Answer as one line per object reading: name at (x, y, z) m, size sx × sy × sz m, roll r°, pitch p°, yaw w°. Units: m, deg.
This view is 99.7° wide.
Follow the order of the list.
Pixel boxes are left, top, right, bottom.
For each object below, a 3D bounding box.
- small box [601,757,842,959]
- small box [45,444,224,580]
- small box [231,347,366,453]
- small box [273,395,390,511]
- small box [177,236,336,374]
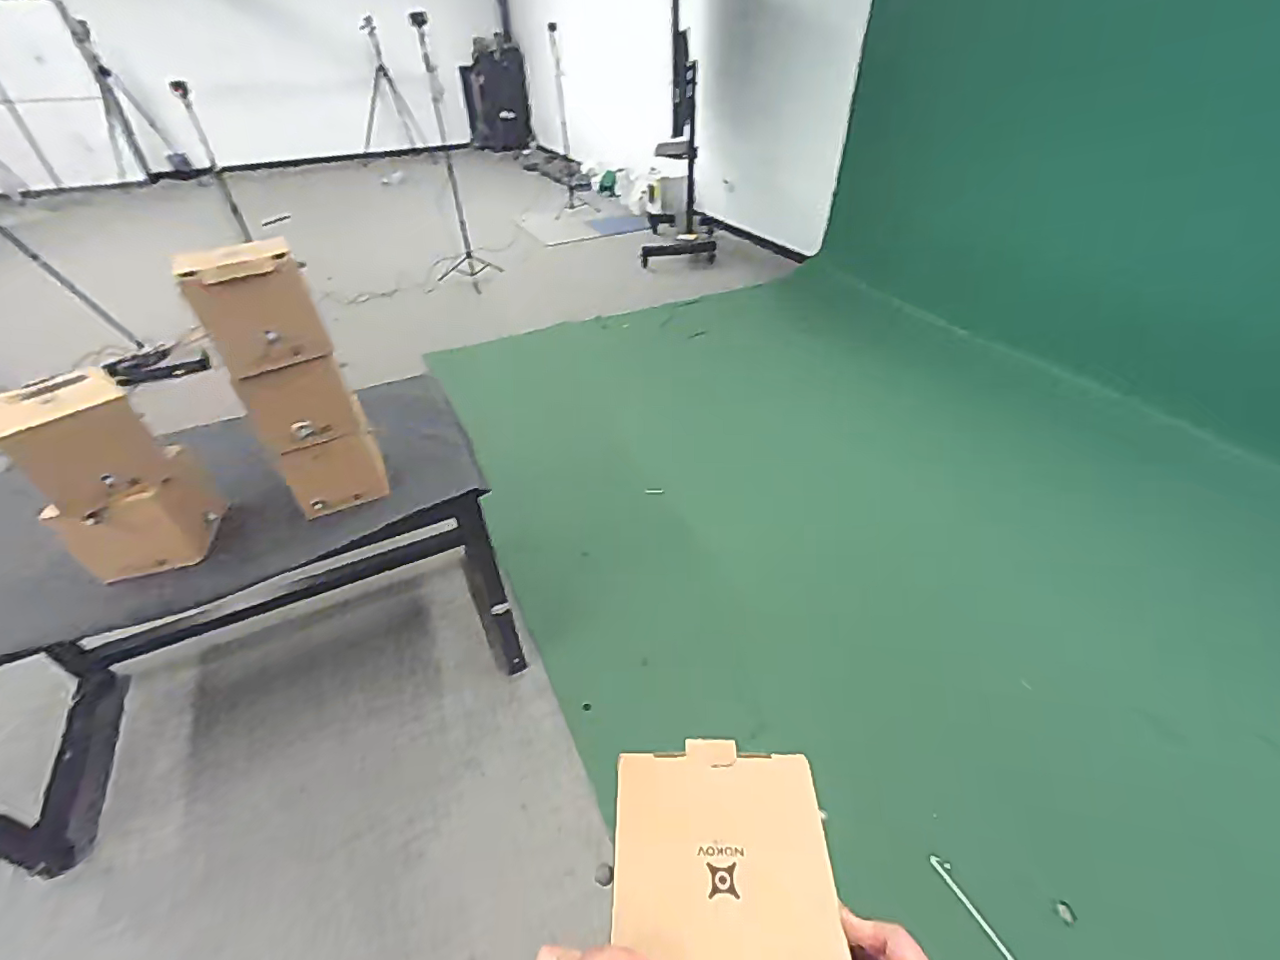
small box at (0.058, 0.358, 0.450) m, size 0.168 × 0.176 × 0.179 m, roll -1°, pitch 38°, yaw 1°
small box at (-0.932, 0.058, 1.023) m, size 0.168 × 0.176 × 0.179 m, roll -13°, pitch 39°, yaw -13°
small box at (-0.652, -0.178, 1.042) m, size 0.168 × 0.176 × 0.179 m, roll -23°, pitch 43°, yaw -21°
small box at (-0.647, -0.054, 1.146) m, size 0.168 × 0.176 × 0.179 m, roll -19°, pitch 40°, yaw -19°
small box at (-0.654, -0.304, 0.934) m, size 0.168 × 0.176 × 0.179 m, roll -25°, pitch 43°, yaw -23°
